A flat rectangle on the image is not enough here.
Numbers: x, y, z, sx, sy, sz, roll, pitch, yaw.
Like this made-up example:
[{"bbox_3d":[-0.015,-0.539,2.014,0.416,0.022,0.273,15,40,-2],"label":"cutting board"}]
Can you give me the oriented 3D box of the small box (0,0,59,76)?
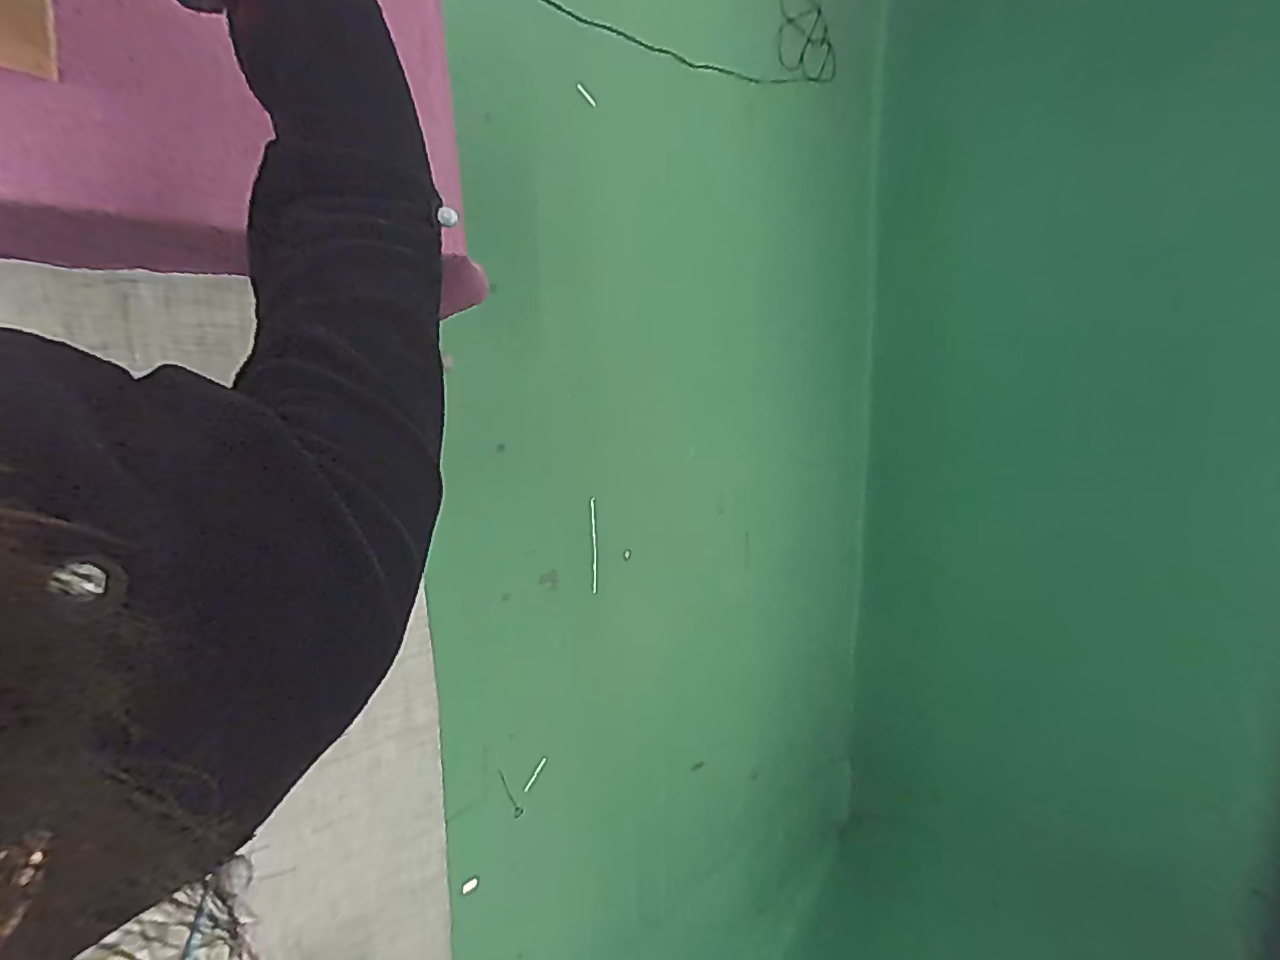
[{"bbox_3d":[-0.574,-0.461,0.408,0.168,0.176,0.179,-11,103,-43],"label":"small box"}]
